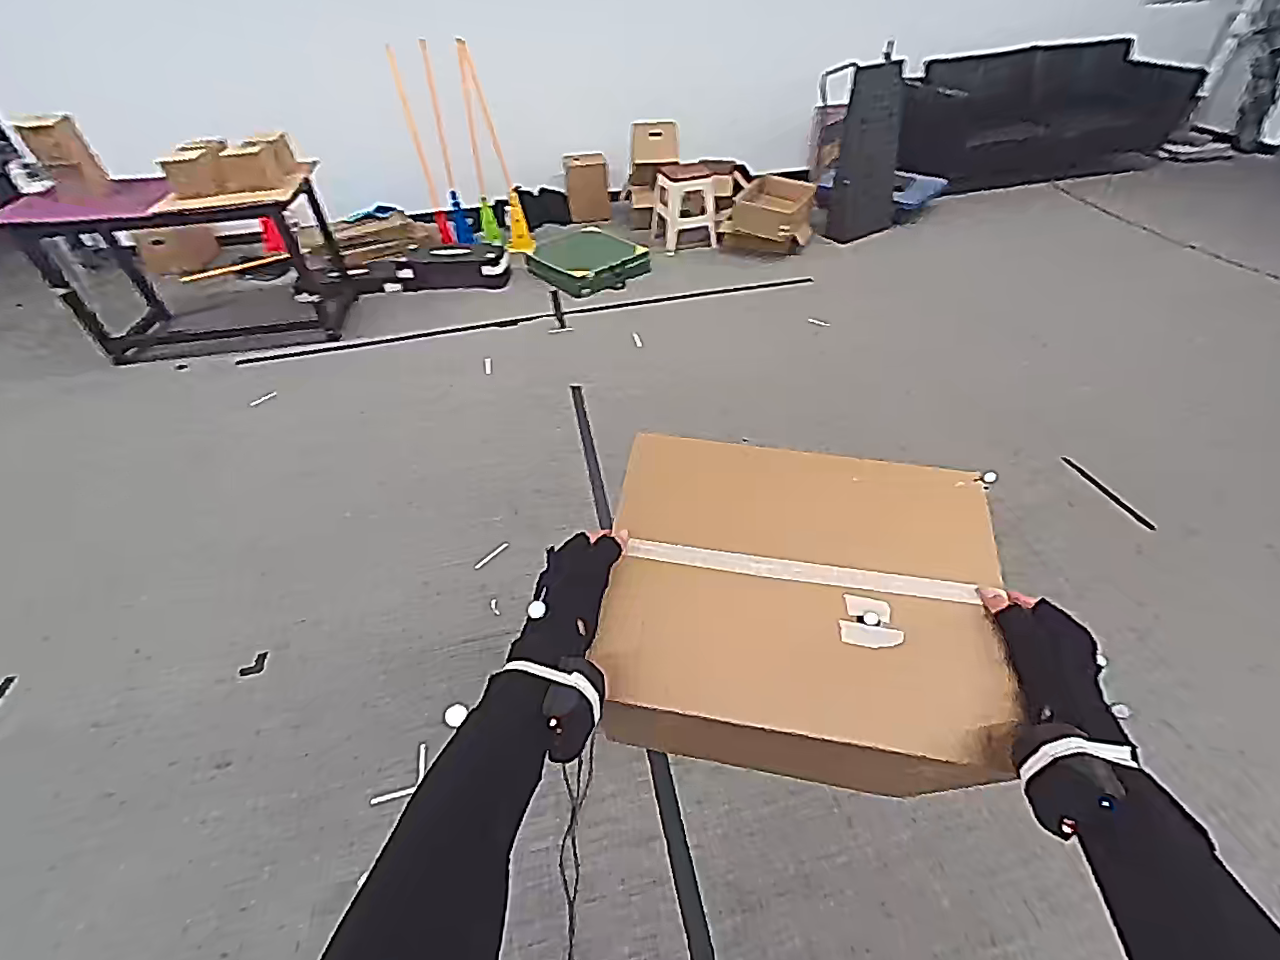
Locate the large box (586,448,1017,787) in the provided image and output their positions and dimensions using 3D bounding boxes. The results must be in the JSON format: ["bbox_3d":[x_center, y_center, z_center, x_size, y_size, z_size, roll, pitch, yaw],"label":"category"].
[{"bbox_3d":[0.165,0.186,0.703,0.408,0.320,0.320,7,58,6],"label":"large box"}]
